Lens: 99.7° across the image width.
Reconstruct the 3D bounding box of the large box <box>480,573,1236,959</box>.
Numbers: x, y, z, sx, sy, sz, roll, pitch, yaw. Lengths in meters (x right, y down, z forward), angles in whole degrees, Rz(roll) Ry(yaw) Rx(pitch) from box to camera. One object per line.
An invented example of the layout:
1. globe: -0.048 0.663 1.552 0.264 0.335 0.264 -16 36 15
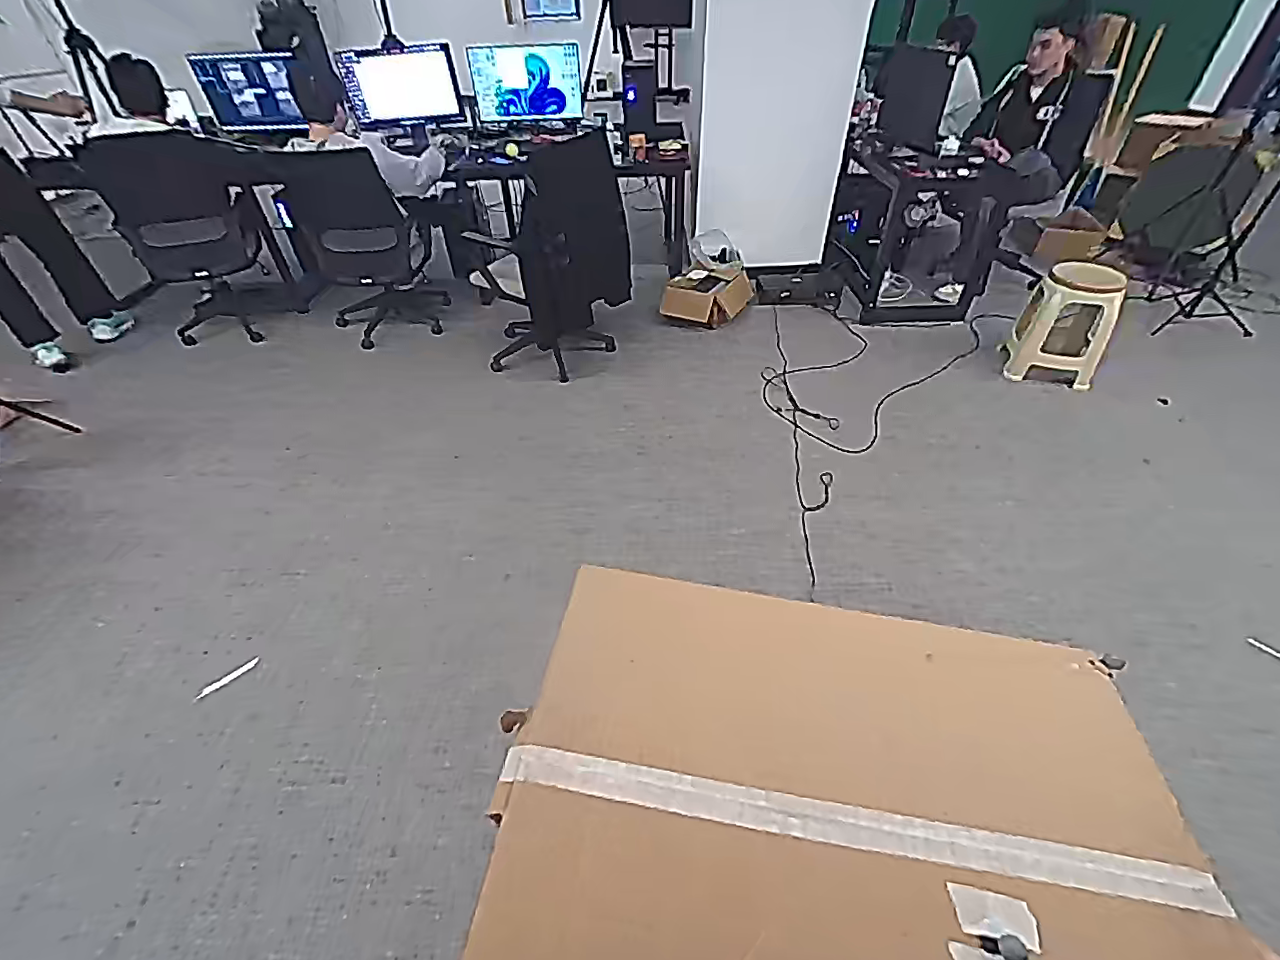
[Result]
1. large box: 0.115 0.315 0.427 0.408 0.320 0.320 10 43 3
